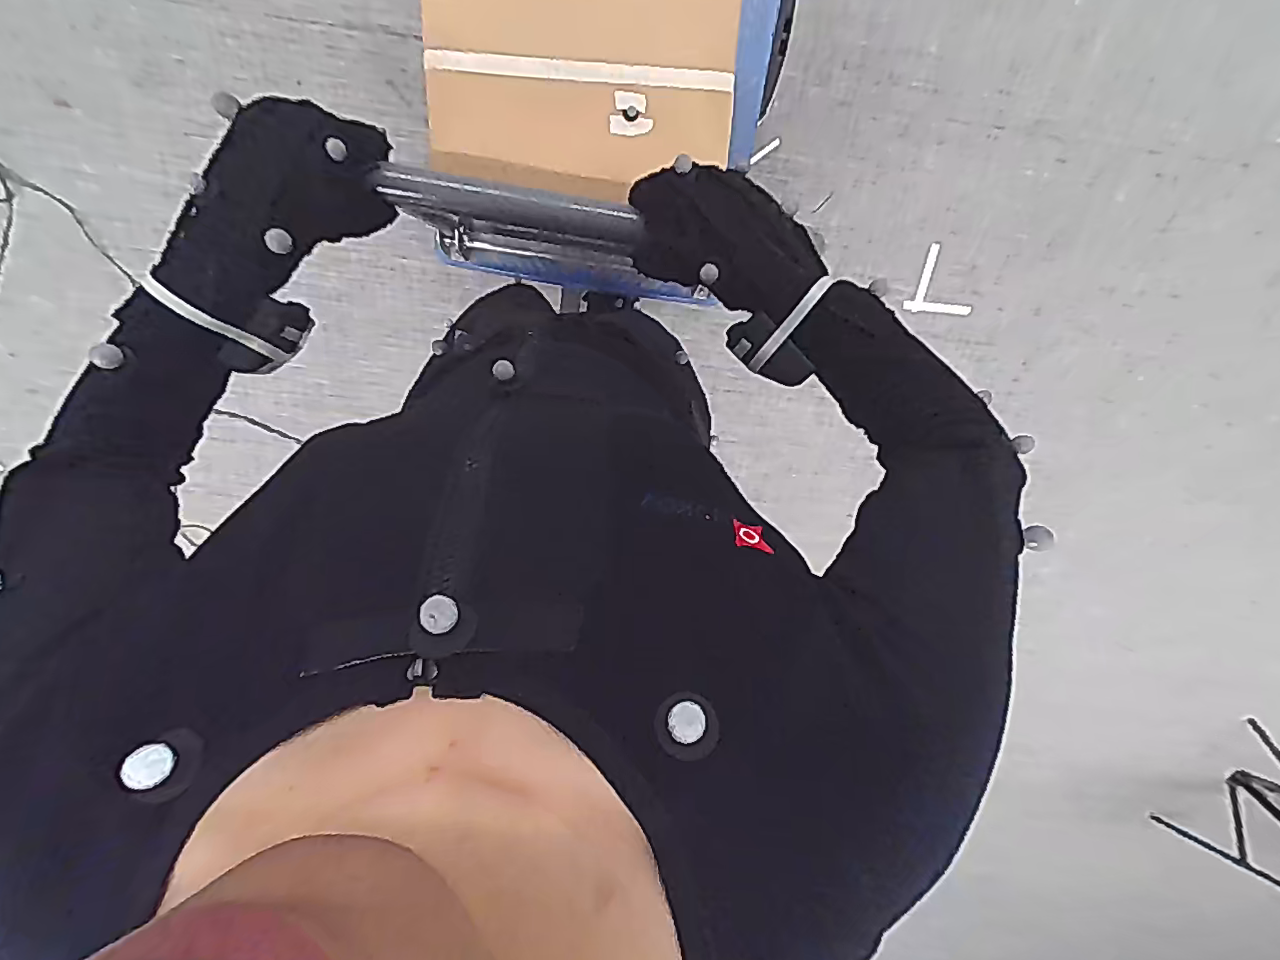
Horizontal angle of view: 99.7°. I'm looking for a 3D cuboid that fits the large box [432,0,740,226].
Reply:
[{"bbox_3d":[-0.081,-0.599,0.860,0.408,0.320,0.320,2,109,-4],"label":"large box"}]
